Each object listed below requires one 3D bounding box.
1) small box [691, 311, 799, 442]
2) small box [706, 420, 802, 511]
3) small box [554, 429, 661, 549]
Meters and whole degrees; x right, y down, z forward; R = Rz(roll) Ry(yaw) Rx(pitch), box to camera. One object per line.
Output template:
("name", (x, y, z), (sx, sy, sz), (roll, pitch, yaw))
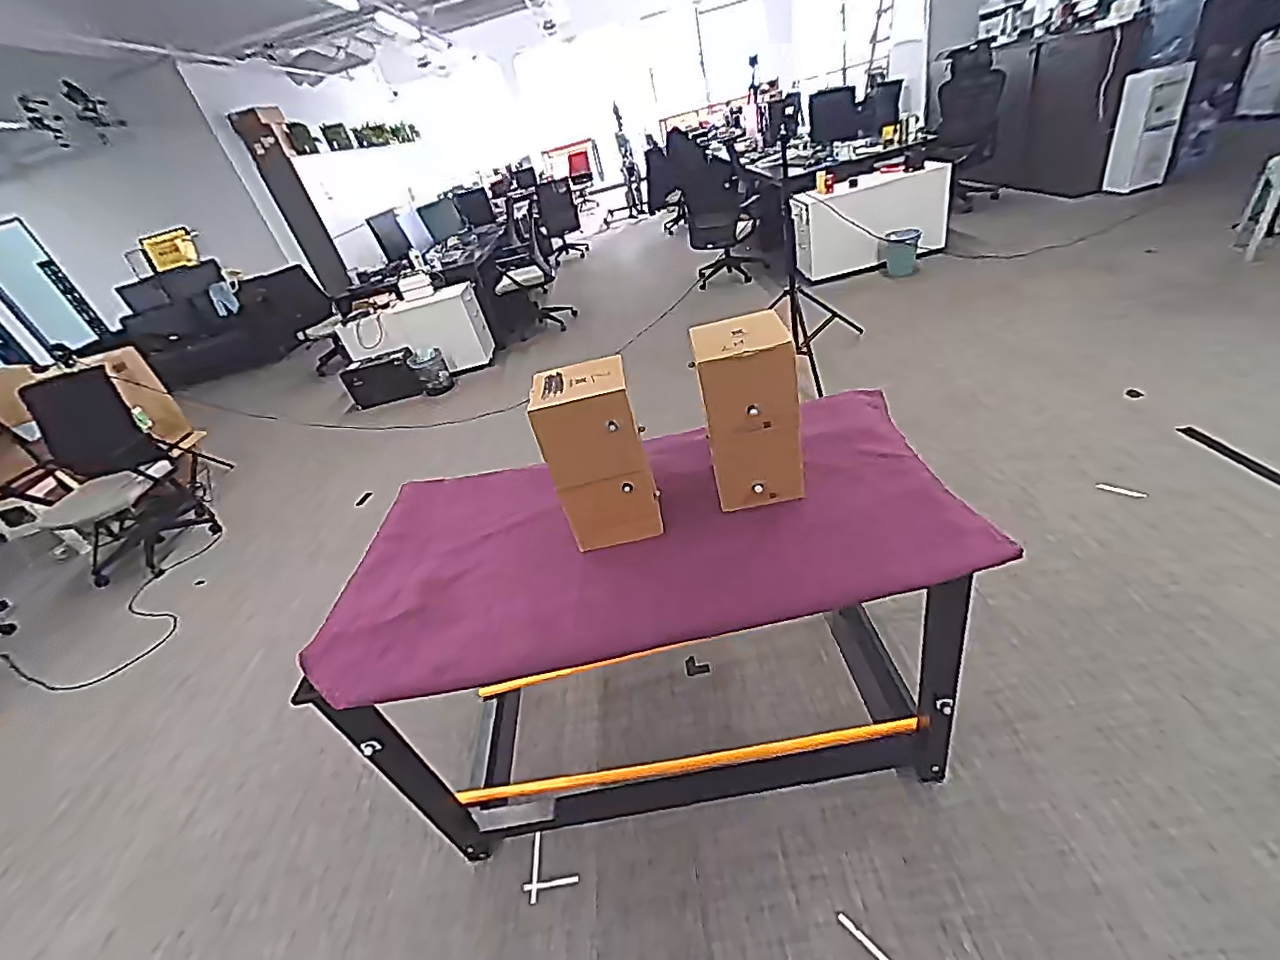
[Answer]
("small box", (0.194, -0.194, 1.017), (0.168, 0.176, 0.179), (-12, 34, 8))
("small box", (0.229, -0.062, 1.109), (0.168, 0.176, 0.179), (-11, 34, 8))
("small box", (-0.063, 0.021, 1.113), (0.179, 0.176, 0.168), (-12, 33, 4))
